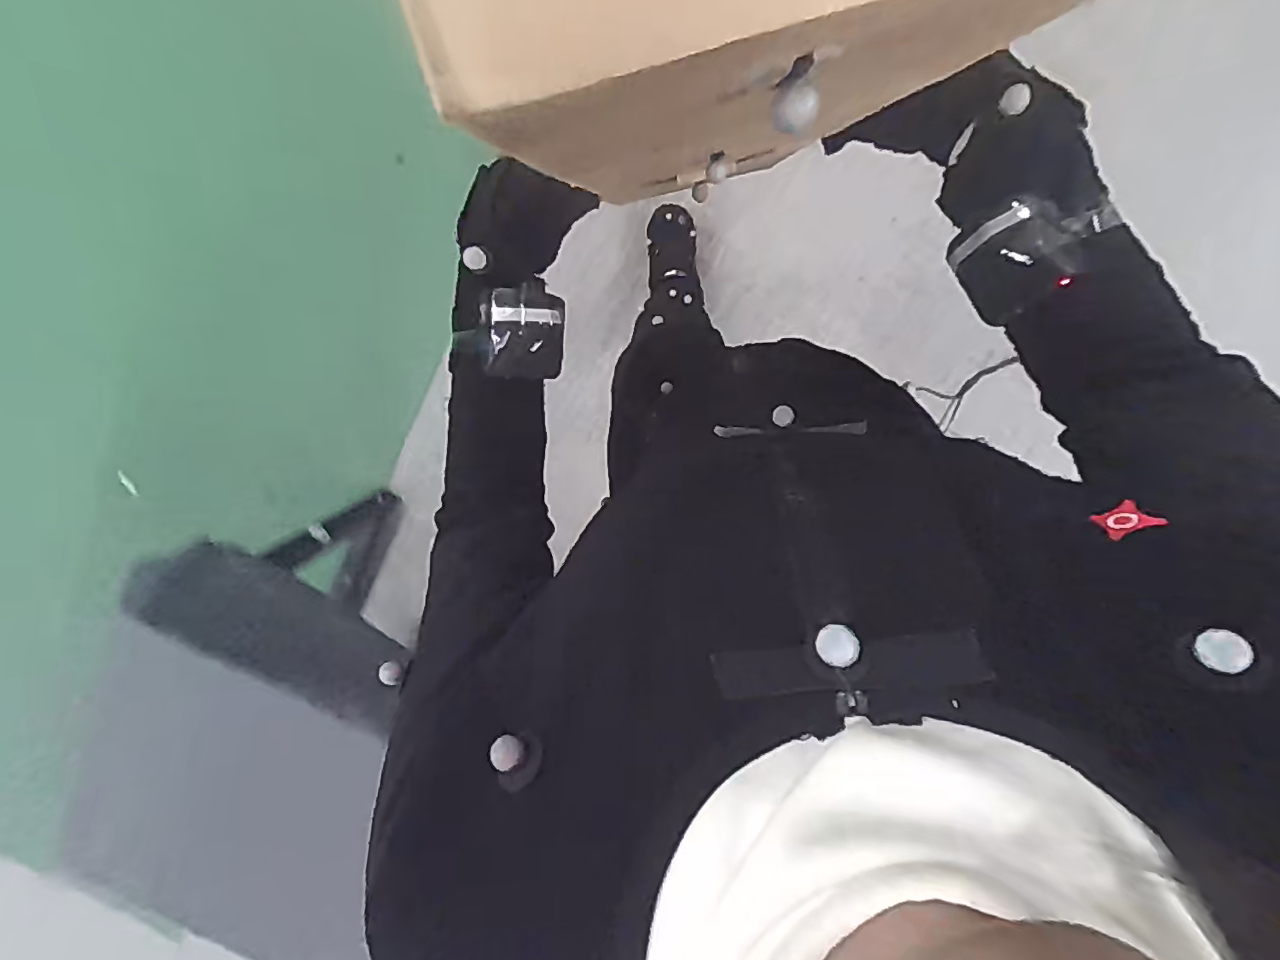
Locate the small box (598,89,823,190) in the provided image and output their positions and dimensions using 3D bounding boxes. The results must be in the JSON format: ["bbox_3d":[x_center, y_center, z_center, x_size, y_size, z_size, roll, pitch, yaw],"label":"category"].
[{"bbox_3d":[0.041,-0.348,0.436,0.168,0.176,0.179,-10,115,9],"label":"small box"}]
